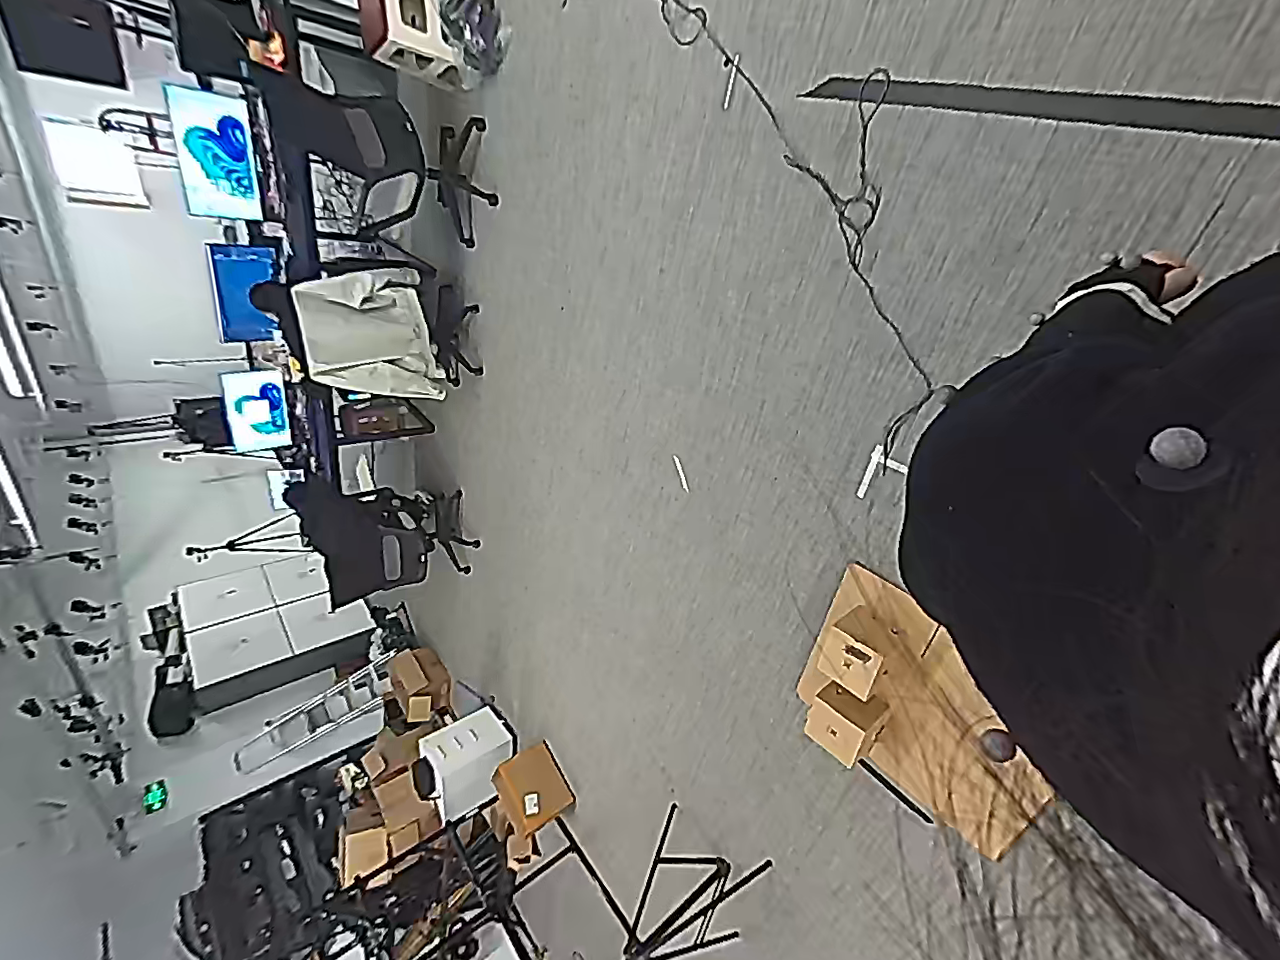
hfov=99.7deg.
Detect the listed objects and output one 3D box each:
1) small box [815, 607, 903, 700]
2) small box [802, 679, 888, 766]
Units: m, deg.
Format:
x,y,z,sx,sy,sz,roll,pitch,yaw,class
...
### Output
x,y,z,sx,sy,sz,roll,pitch,yaw,class
0.662,0.511,1.624,0.168,0.176,0.179,31,124,40,small box
0.650,0.753,1.719,0.179,0.176,0.168,29,124,40,small box
